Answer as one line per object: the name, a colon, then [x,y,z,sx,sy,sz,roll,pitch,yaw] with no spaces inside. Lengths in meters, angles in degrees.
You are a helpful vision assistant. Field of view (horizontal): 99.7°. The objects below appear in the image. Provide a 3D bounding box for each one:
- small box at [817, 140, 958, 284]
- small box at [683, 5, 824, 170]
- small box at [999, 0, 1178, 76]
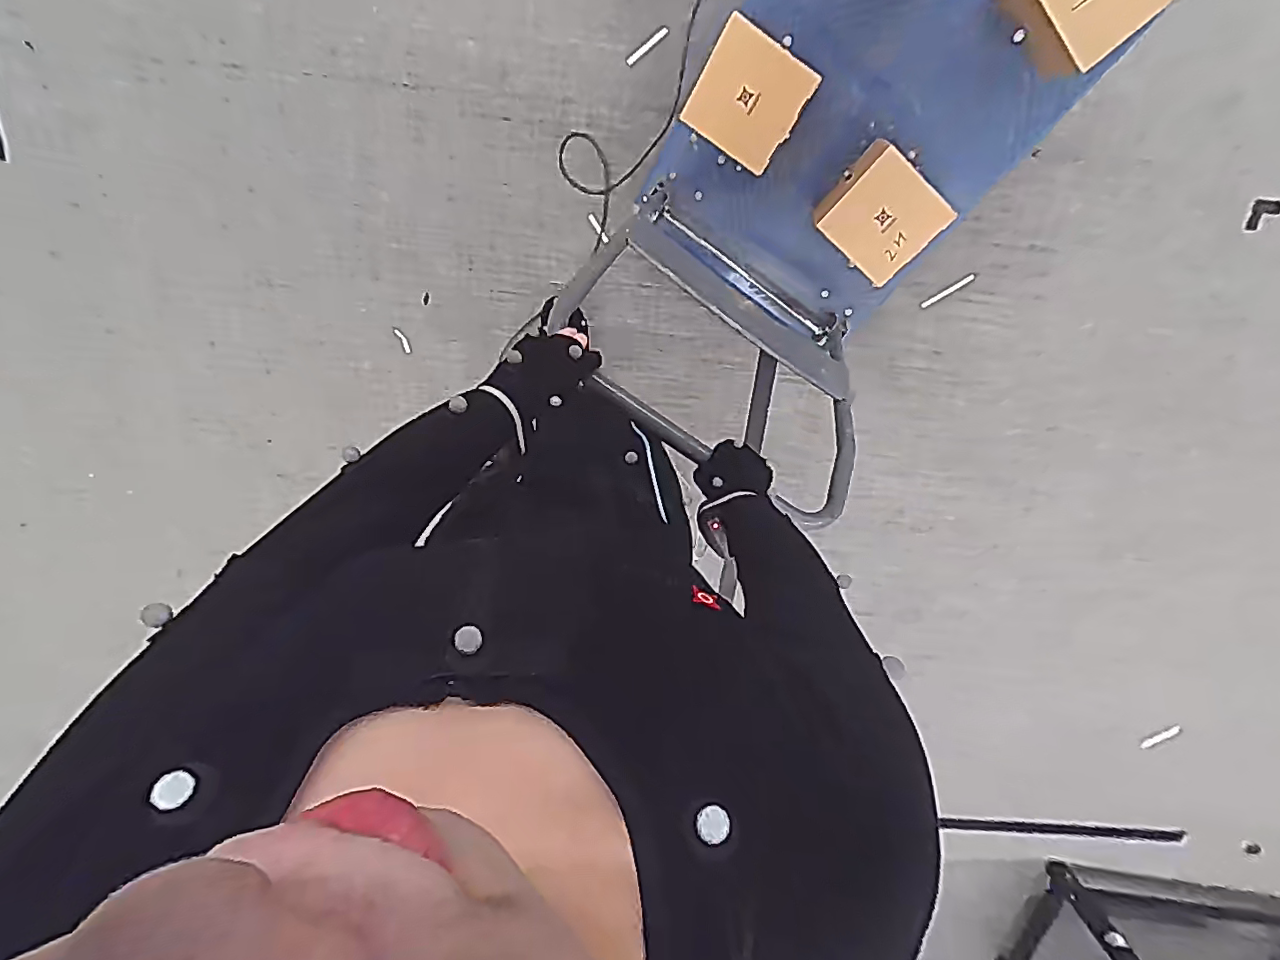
small box: [0.455,-0.511,1.025,0.179,0.176,0.168,38,126,-13]
small box: [0.199,-0.689,0.964,0.179,0.176,0.168,30,126,-10]
small box: [0.679,-0.745,0.799,0.168,0.176,0.179,43,125,-16]
